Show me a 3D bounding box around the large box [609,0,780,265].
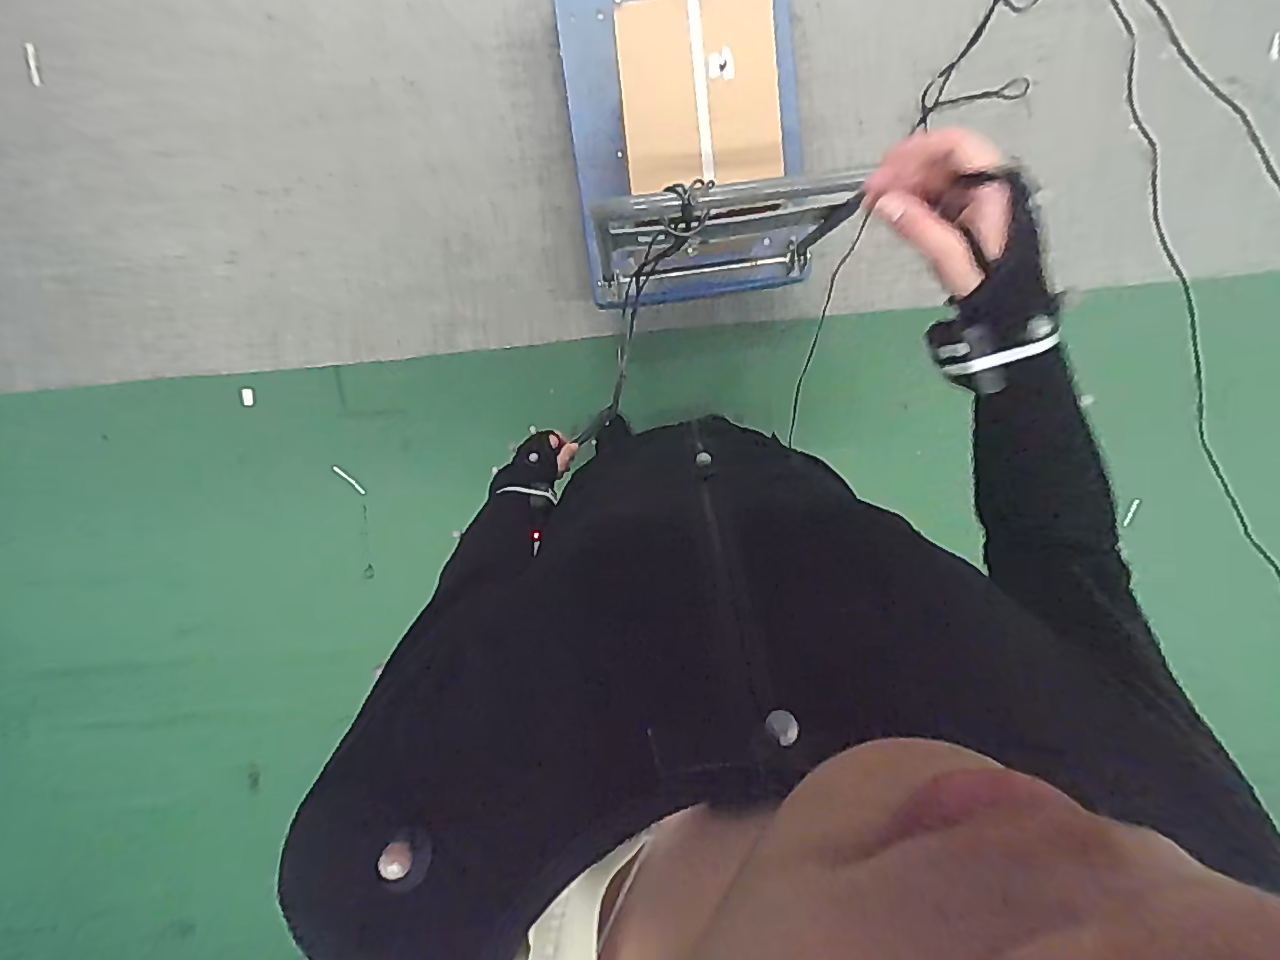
[{"bbox_3d":[0.113,-0.756,1.236,0.320,0.320,0.408,-6,96,0],"label":"large box"}]
